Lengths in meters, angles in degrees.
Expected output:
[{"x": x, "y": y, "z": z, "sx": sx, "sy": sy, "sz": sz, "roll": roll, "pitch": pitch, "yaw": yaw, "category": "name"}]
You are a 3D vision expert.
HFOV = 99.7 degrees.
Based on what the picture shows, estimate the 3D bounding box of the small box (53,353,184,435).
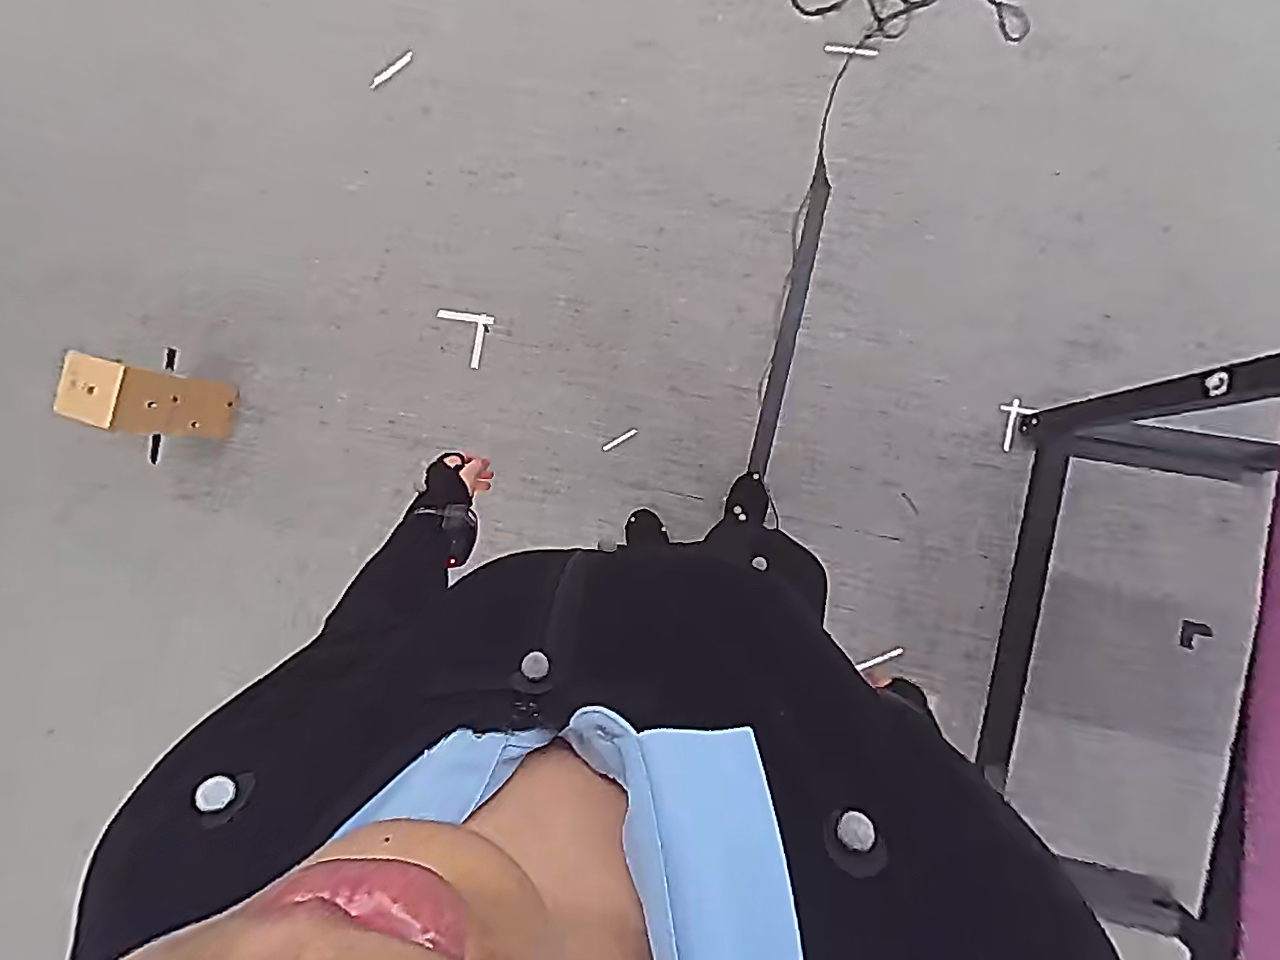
[{"x": -1.372, "y": -0.220, "z": 1.434, "sx": 0.179, "sy": 0.176, "sz": 0.168, "roll": 16, "pitch": 91, "yaw": 8, "category": "small box"}]
